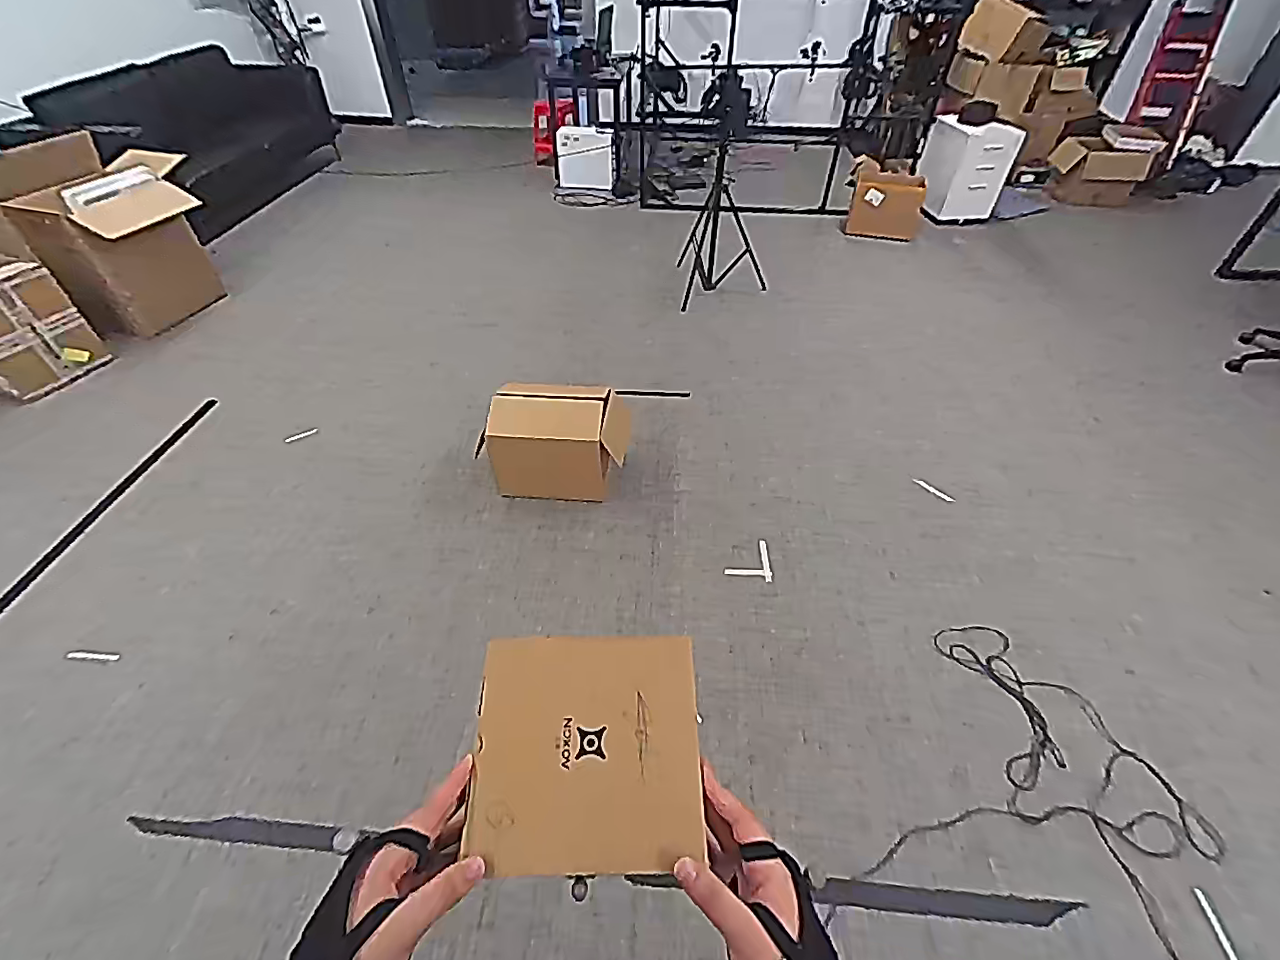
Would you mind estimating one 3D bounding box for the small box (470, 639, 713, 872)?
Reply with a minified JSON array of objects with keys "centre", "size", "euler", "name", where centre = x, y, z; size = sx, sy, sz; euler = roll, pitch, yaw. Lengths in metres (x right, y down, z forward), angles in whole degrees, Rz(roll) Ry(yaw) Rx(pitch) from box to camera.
[{"centre":[-0.035,0.253,0.490],"size":[0.179,0.176,0.168],"euler":[-1,55,-1],"name":"small box"}]
